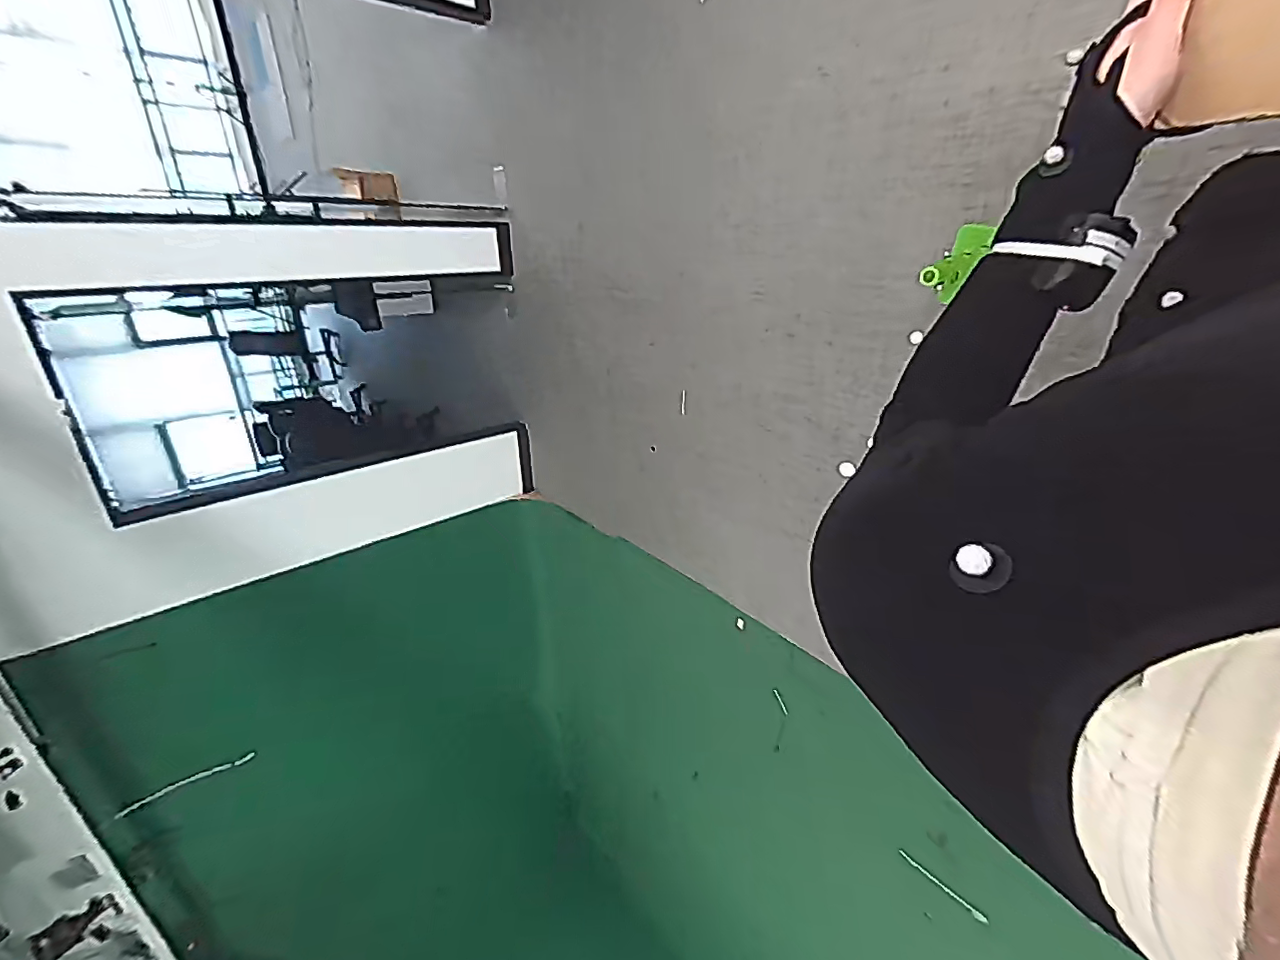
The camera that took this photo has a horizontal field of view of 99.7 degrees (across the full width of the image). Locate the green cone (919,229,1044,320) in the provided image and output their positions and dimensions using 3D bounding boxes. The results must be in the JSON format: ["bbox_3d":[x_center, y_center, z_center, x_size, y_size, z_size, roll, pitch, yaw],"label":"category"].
[{"bbox_3d":[0.767,-0.481,1.292,0.200,0.368,0.202,32,130,40],"label":"green cone"}]
